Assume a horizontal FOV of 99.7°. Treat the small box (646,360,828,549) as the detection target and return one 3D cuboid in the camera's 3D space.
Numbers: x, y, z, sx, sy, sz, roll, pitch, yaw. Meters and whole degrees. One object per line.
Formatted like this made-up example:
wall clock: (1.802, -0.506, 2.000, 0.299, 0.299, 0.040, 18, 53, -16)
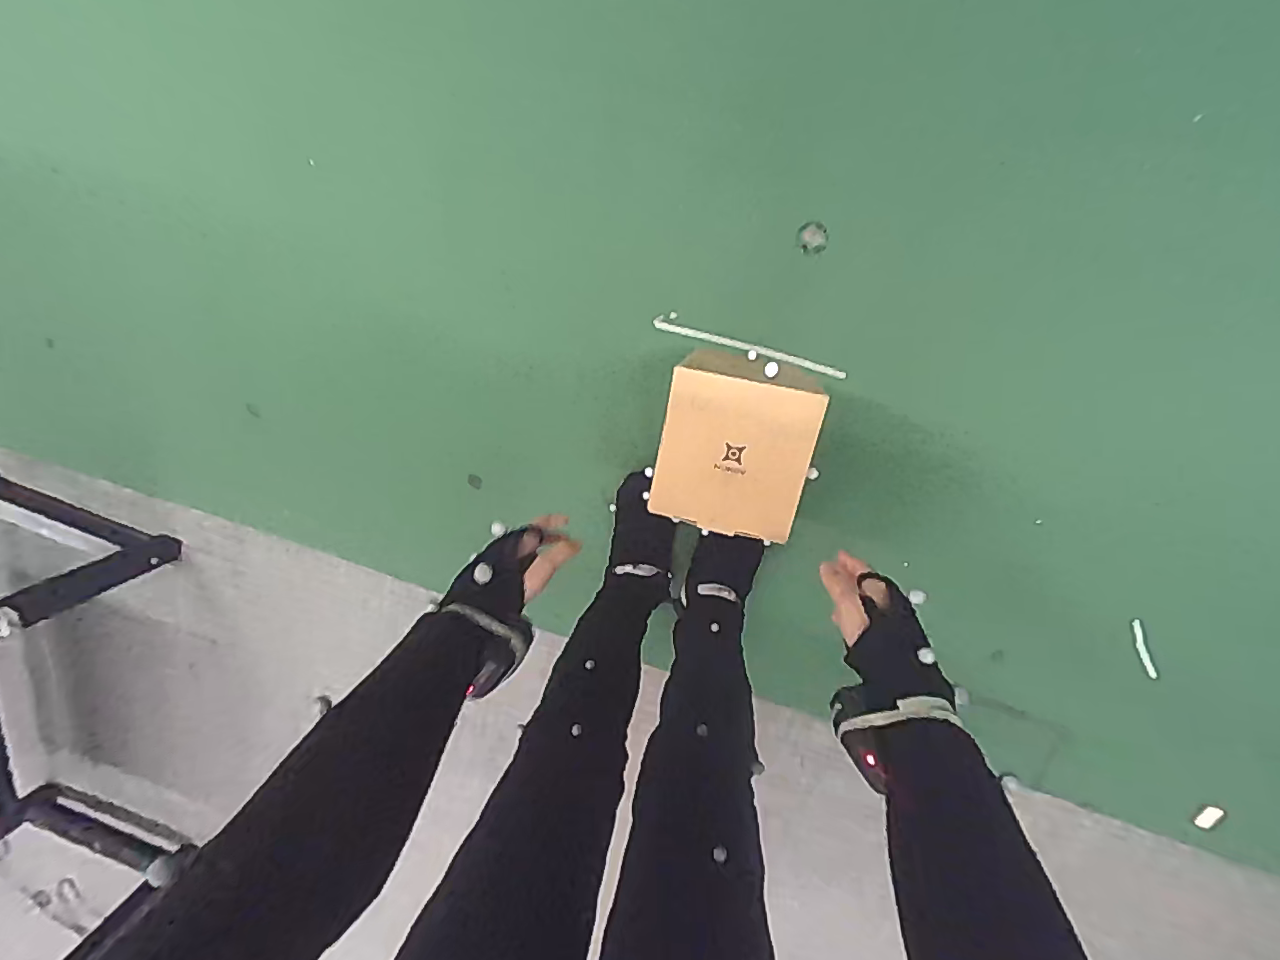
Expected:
small box: (0.115, -0.044, 0.667, 0.168, 0.176, 0.179, 14, 110, 7)
